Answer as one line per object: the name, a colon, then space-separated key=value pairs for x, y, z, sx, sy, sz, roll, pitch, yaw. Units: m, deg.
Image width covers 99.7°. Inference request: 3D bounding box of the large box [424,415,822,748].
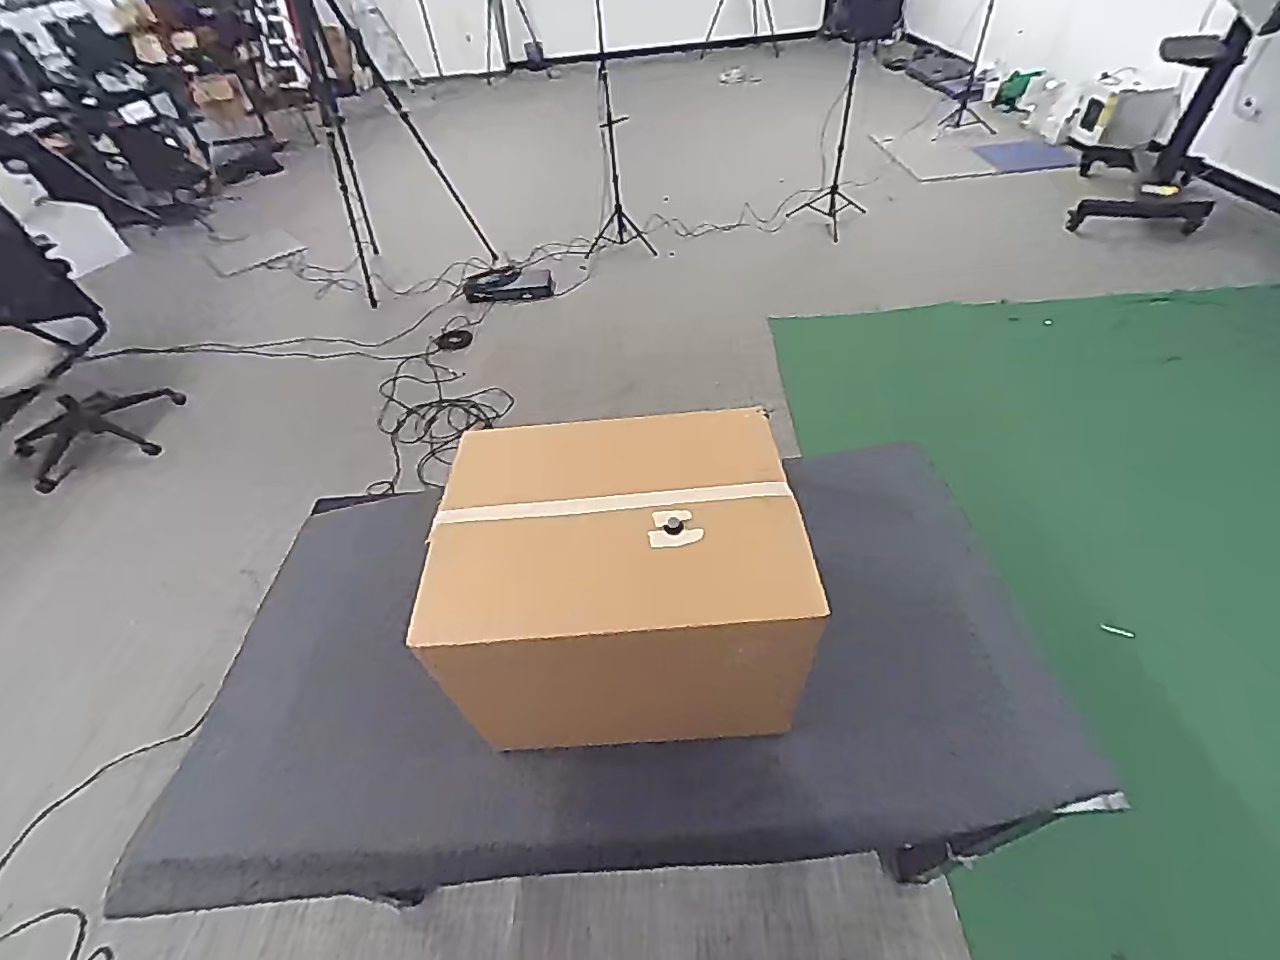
large box: x=-0.017 y=0.141 z=0.737 sx=0.408 sy=0.320 sz=0.320 roll=-5 pitch=47 yaw=1
